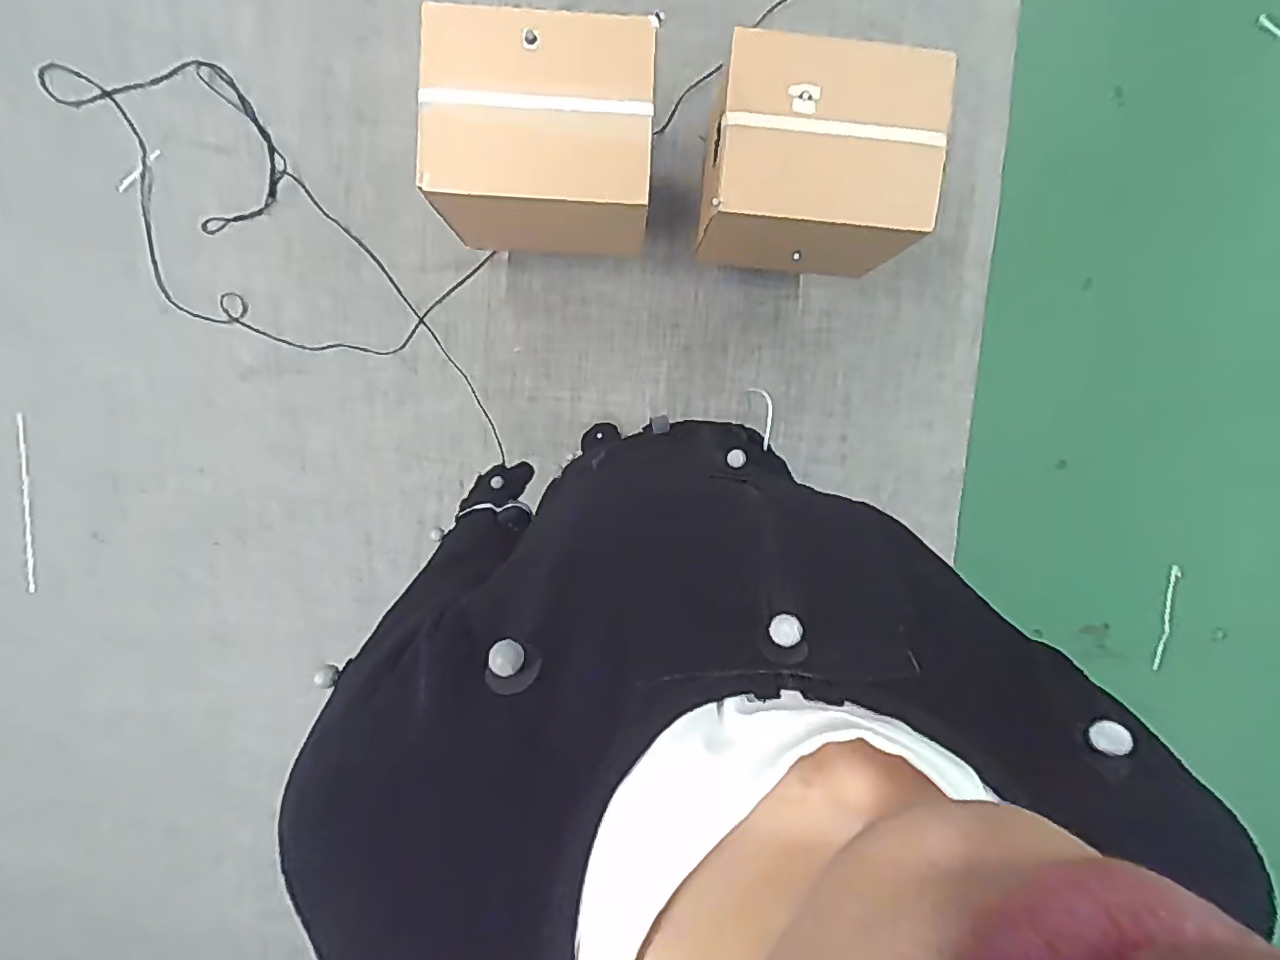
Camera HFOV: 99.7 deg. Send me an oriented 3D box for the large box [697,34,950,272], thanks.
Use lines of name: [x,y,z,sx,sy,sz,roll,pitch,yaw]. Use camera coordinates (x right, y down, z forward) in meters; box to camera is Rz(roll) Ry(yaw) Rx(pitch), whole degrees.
large box: [0.348,-0.644,1.129,0.408,0.320,0.320,5,95,-2]
